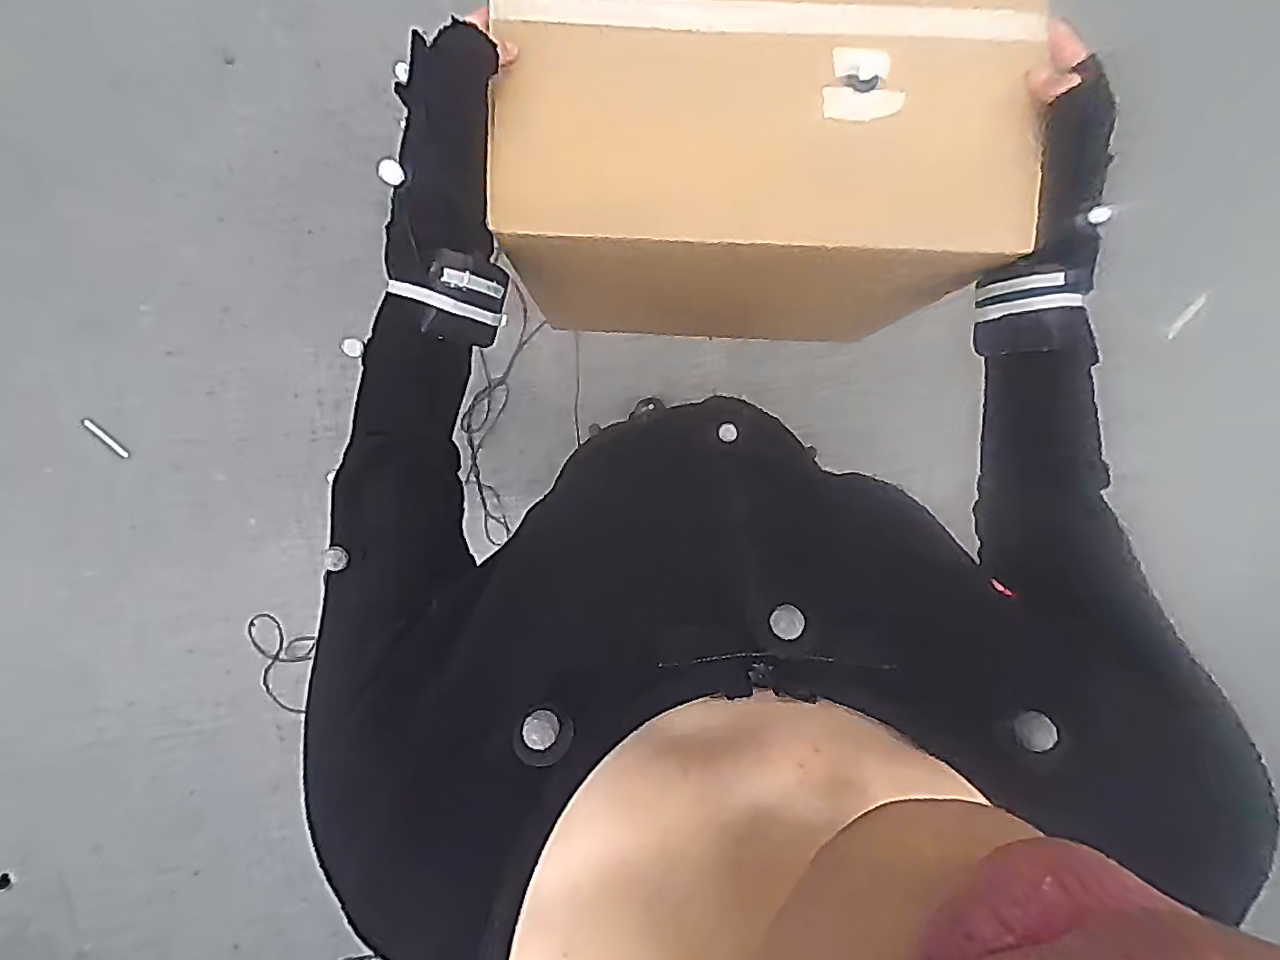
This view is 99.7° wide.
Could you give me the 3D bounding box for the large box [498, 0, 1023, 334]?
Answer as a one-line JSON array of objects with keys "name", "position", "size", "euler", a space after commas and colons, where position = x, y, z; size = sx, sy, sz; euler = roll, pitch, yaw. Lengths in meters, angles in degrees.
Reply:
[{"name": "large box", "position": [0.086, -0.342, 0.558], "size": [0.408, 0.320, 0.320], "euler": [1, 92, -1]}]
